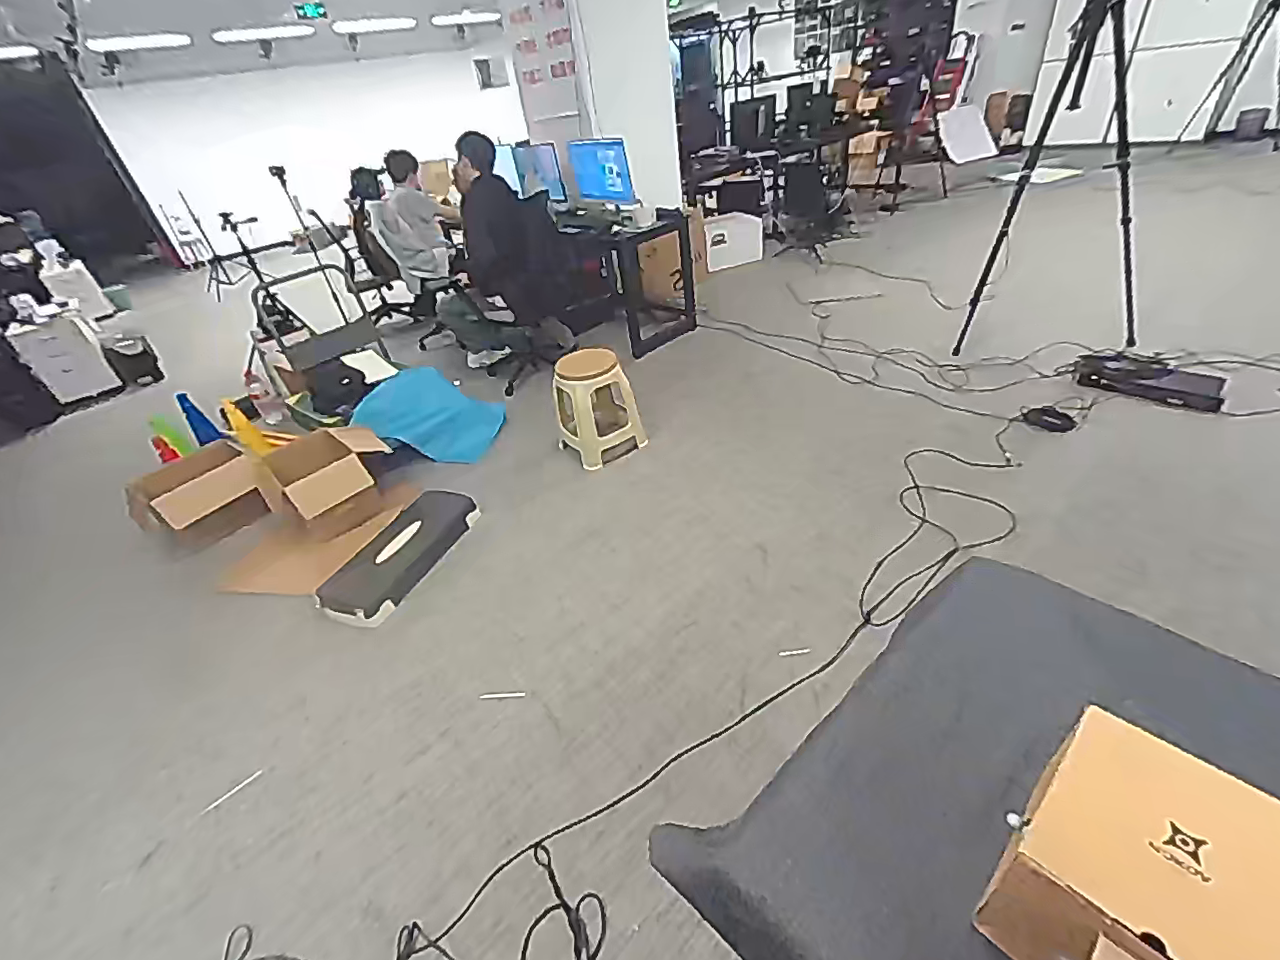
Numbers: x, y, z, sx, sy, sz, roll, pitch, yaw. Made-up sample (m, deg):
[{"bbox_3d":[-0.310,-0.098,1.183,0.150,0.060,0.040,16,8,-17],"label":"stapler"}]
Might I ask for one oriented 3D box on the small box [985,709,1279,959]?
[{"bbox_3d":[0.425,0.345,0.458,0.179,0.176,0.168,-34,43,-29],"label":"small box"}]
